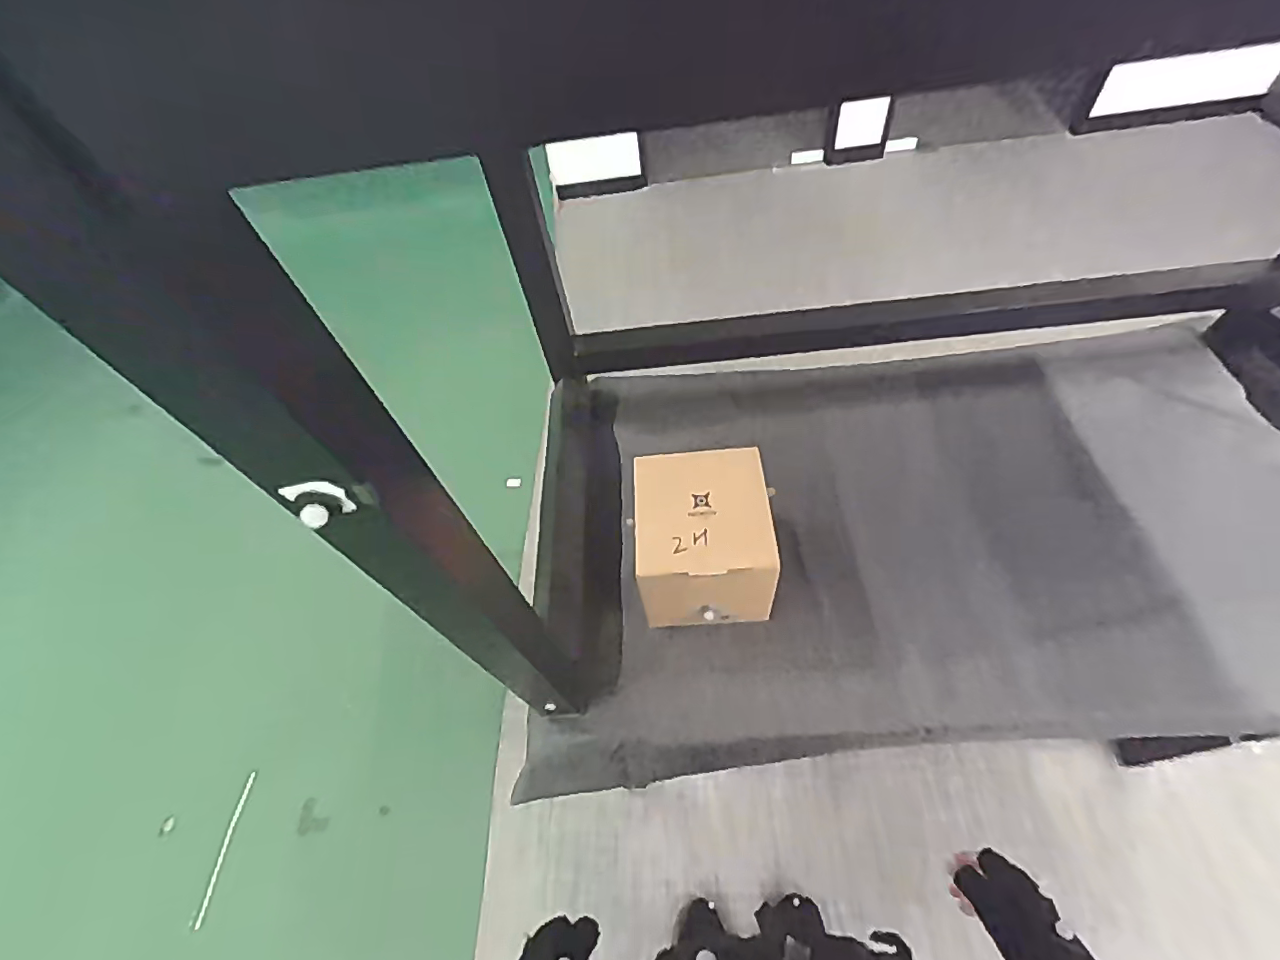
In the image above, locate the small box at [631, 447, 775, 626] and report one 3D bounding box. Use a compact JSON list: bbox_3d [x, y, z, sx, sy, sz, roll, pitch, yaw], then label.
[{"bbox_3d":[0.079,0.079,0.726,0.168,0.176,0.179,-5,54,5],"label":"small box"}]
